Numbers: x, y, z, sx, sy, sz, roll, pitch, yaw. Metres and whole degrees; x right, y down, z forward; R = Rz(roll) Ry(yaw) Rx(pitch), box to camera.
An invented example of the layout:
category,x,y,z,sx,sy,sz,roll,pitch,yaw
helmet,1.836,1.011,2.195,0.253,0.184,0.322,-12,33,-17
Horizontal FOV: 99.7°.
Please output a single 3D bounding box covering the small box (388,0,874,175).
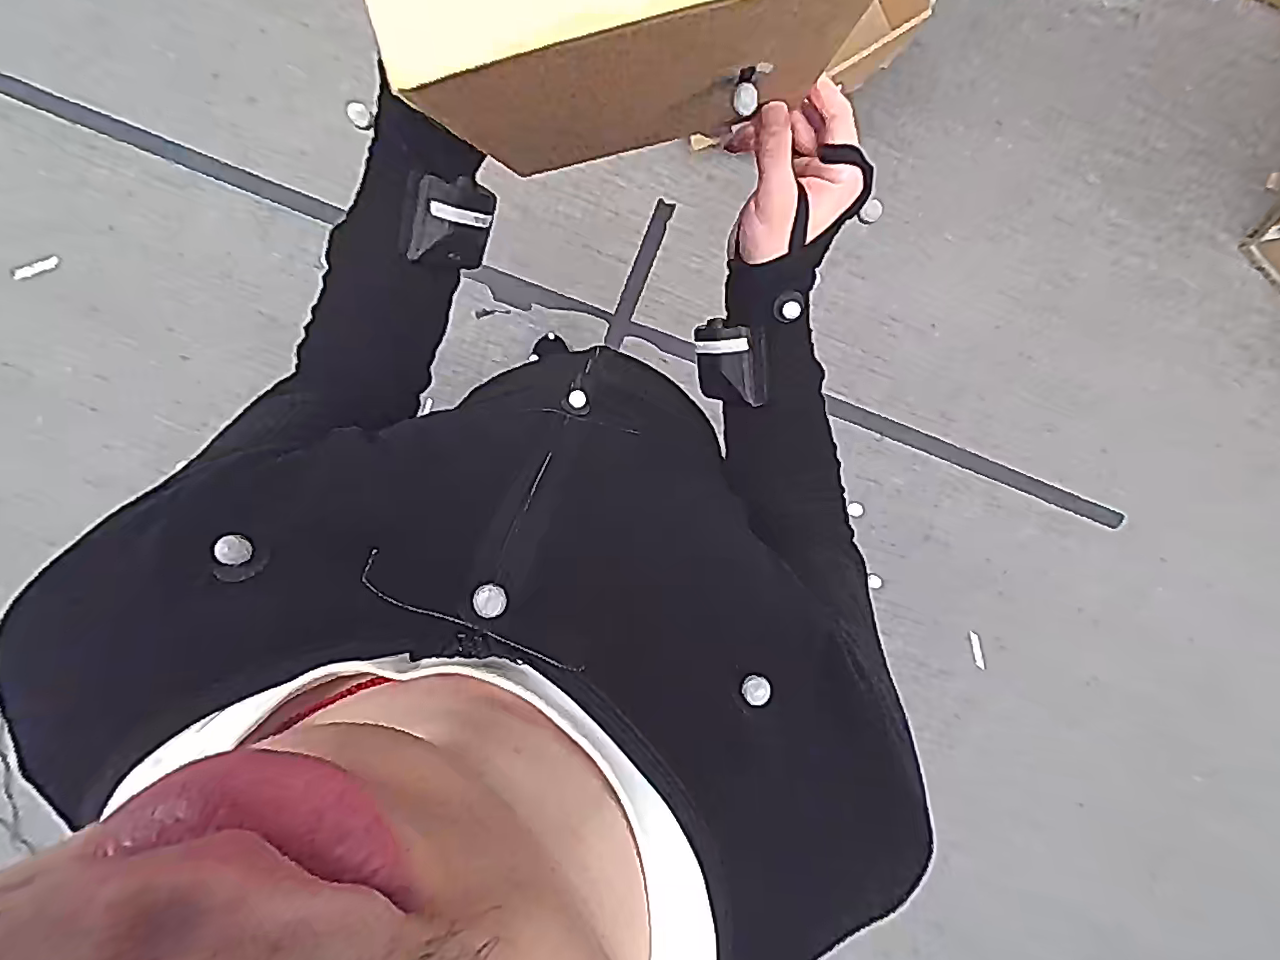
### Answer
category,x,y,z,sx,sy,sz,roll,pitch,yaw
small box,-0.010,-0.257,0.240,0.179,0.176,0.168,-10,108,8
